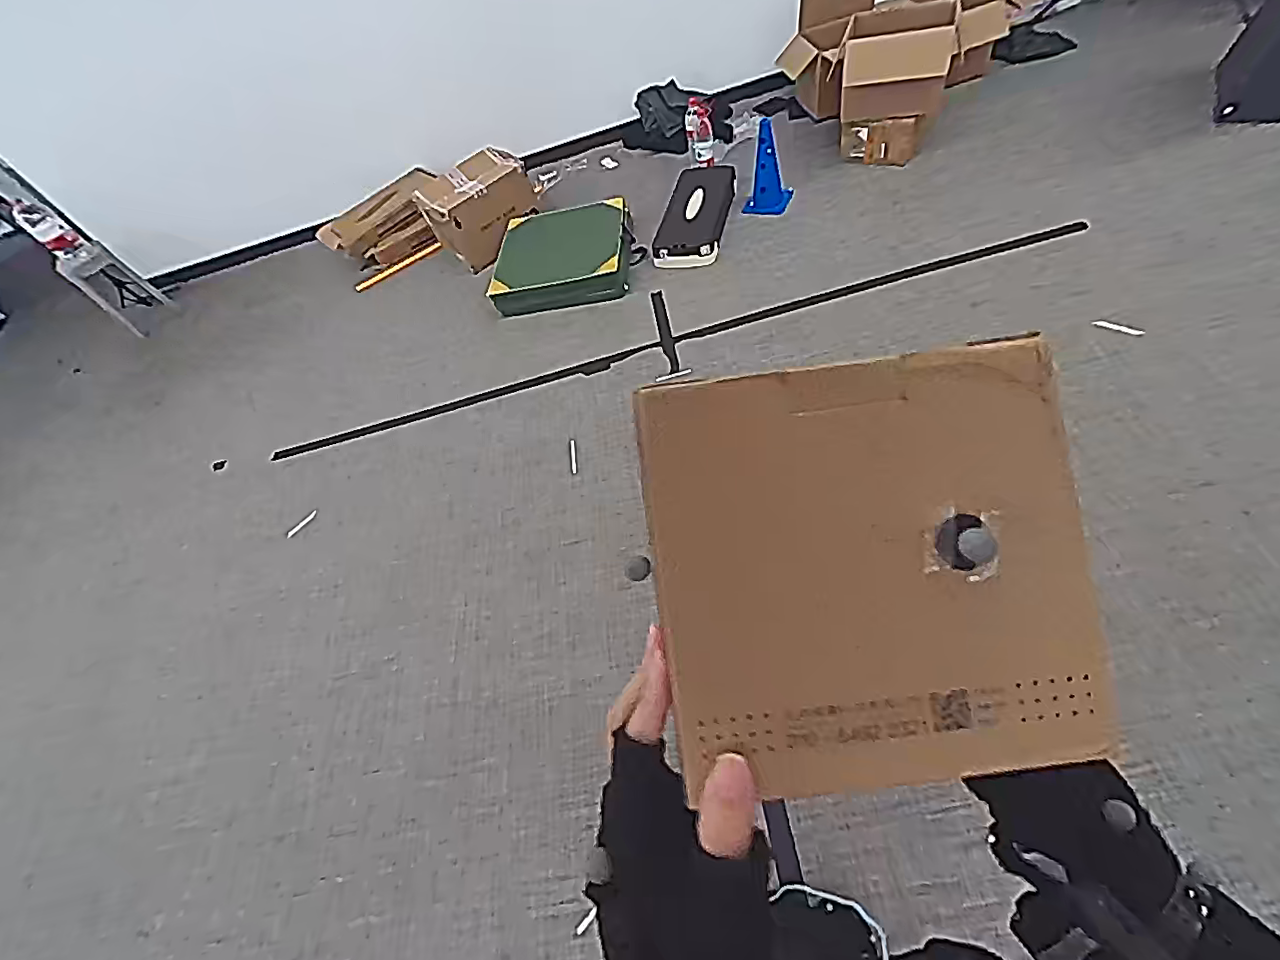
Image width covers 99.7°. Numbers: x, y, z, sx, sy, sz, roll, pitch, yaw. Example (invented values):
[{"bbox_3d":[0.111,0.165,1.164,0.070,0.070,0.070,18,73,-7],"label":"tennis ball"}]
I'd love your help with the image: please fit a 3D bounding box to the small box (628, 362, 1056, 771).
[{"bbox_3d":[0.093,0.046,0.311,0.168,0.179,0.176,-8,88,4],"label":"small box"}]
